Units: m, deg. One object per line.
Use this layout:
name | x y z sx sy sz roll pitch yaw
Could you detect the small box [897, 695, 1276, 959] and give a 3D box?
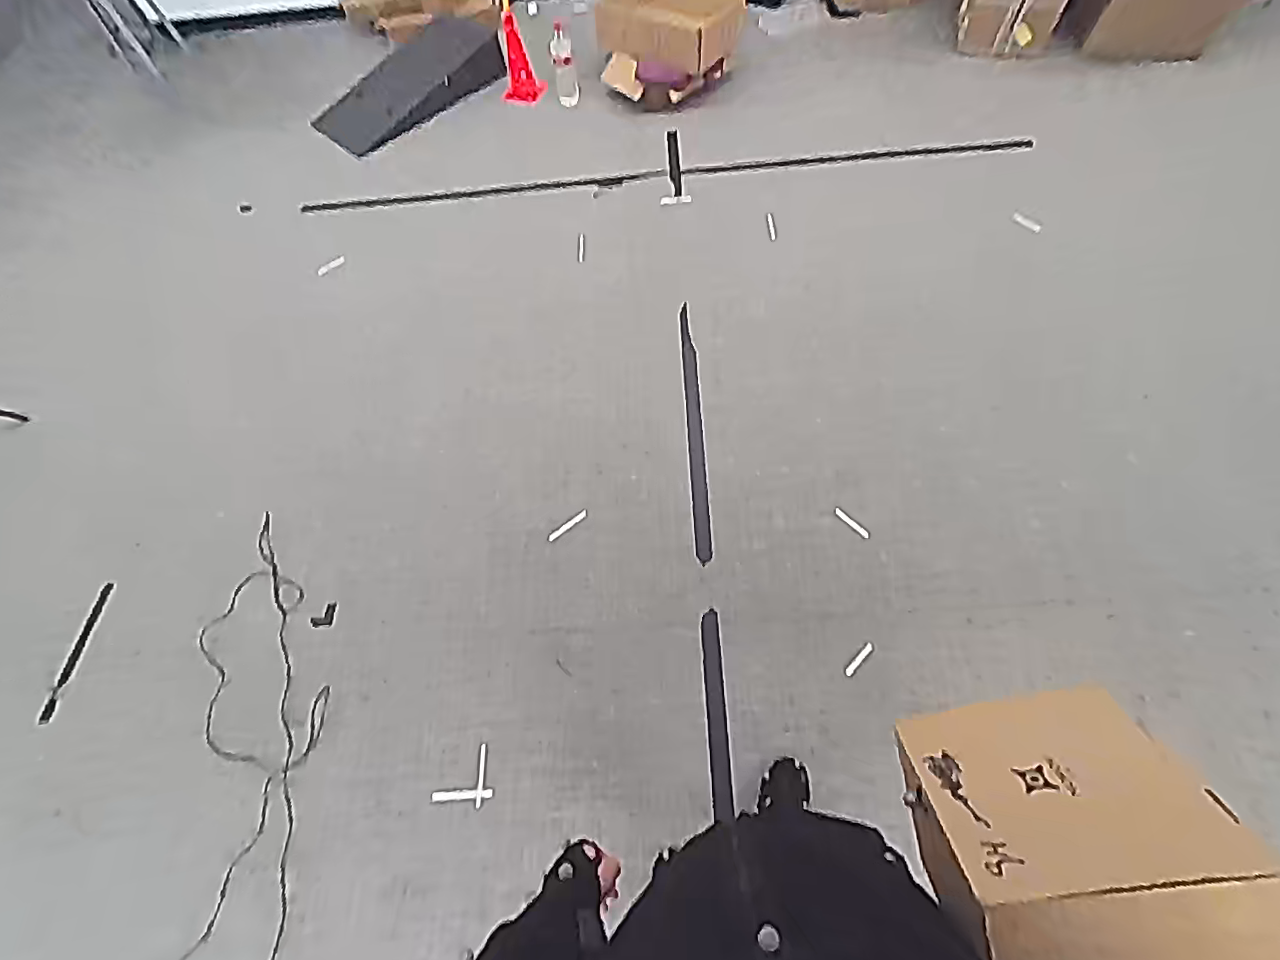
small box | 0.337 0.312 0.442 0.179 0.168 0.176 -14 105 10
